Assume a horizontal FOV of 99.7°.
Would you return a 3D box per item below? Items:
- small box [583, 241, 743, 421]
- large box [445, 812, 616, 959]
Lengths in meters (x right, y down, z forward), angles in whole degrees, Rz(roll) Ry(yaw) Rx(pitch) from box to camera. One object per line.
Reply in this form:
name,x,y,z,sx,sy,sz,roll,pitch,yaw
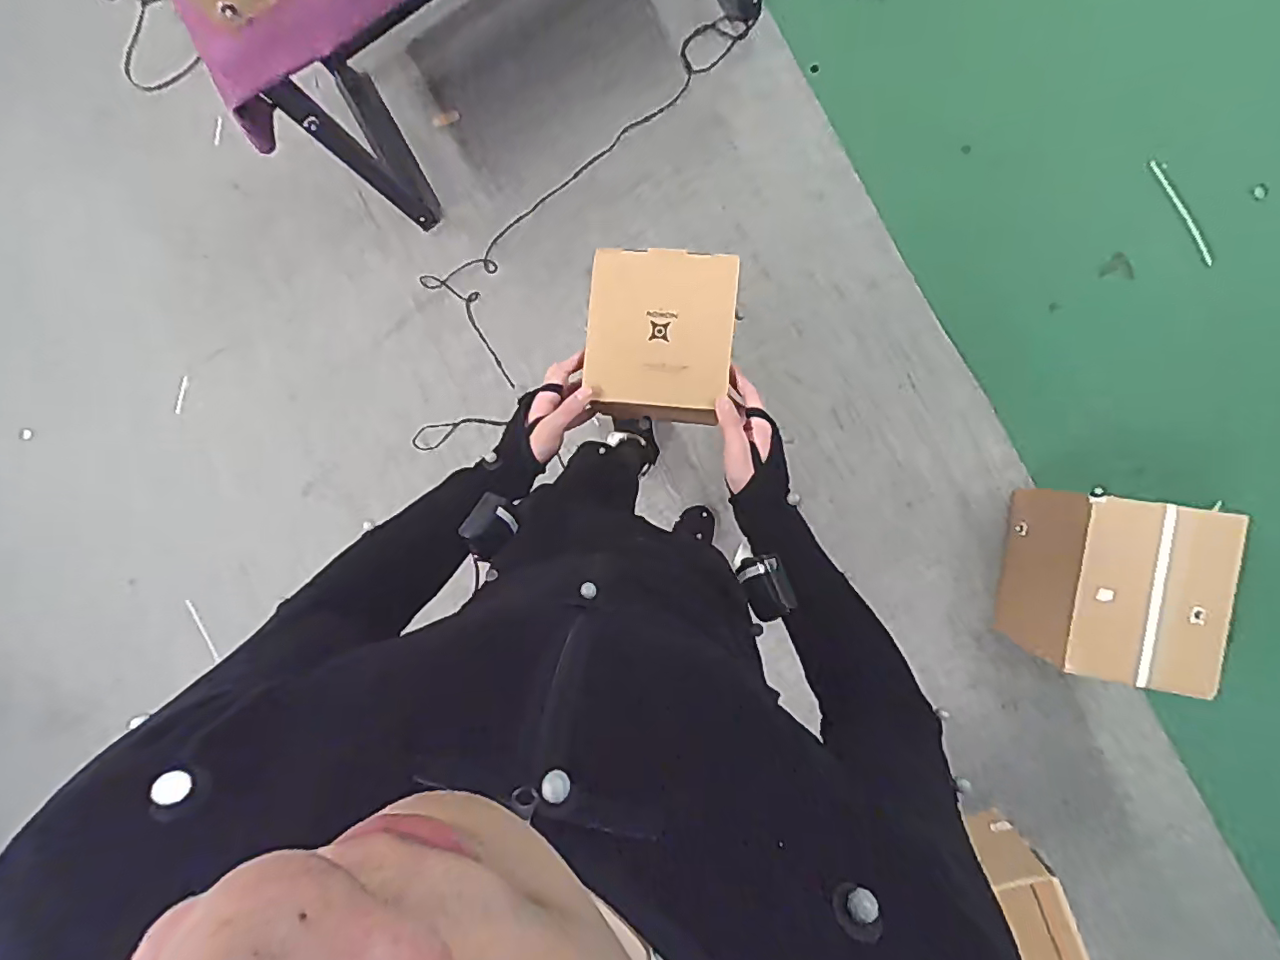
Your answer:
small box,0.030,-0.175,0.681,0.168,0.176,0.179,5,92,5
large box,-0.295,1.201,1.556,0.408,0.320,0.320,-4,92,6
